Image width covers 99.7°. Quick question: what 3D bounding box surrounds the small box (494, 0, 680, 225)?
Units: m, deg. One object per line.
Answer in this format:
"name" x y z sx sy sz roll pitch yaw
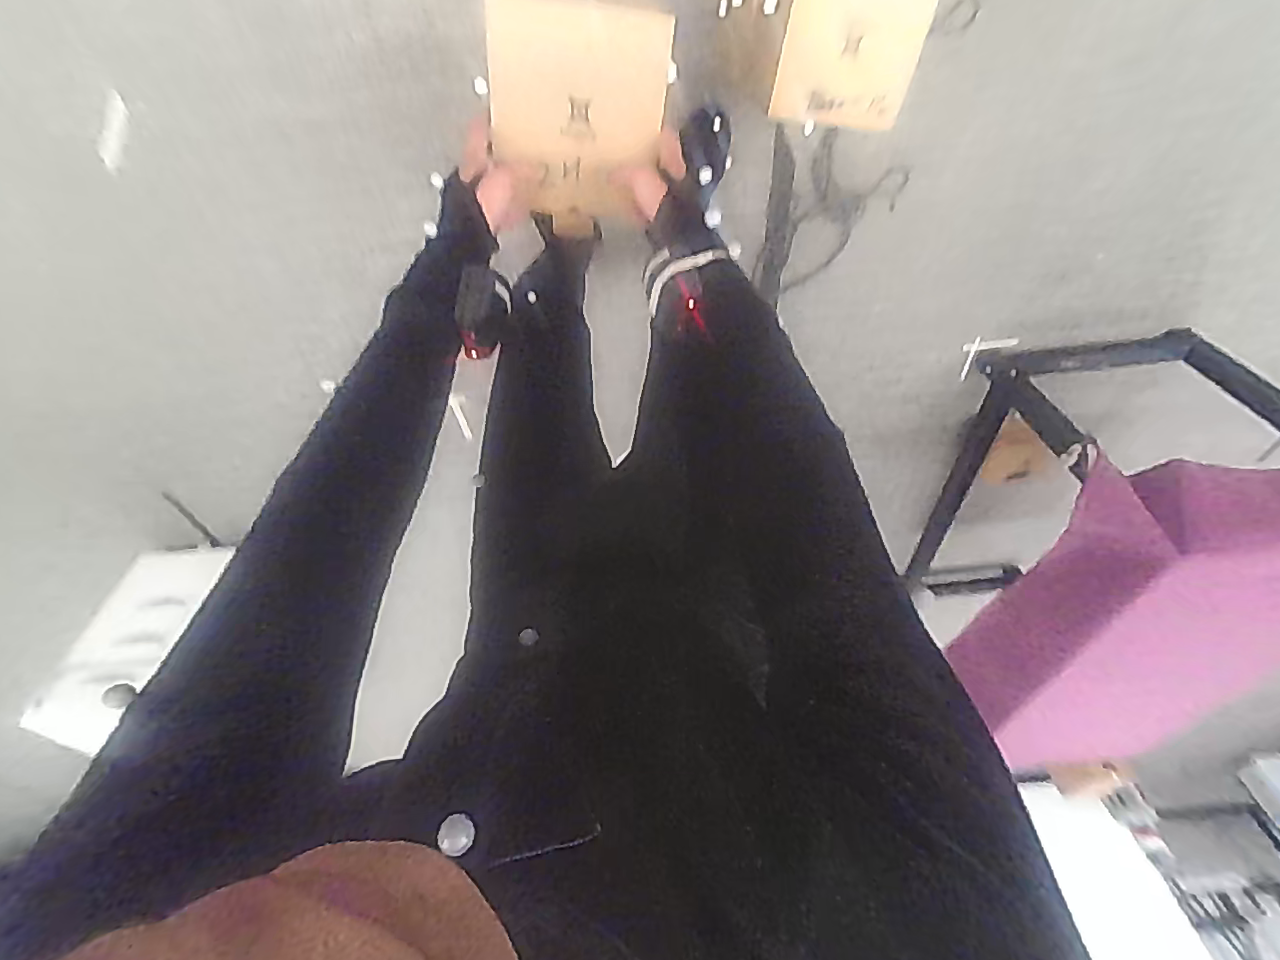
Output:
"small box" -0.067 -0.398 0.573 0.168 0.176 0.179 0 137 -12

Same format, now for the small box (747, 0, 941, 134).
"small box" 0.243 -0.558 0.676 0.168 0.176 0.179 2 133 -6
